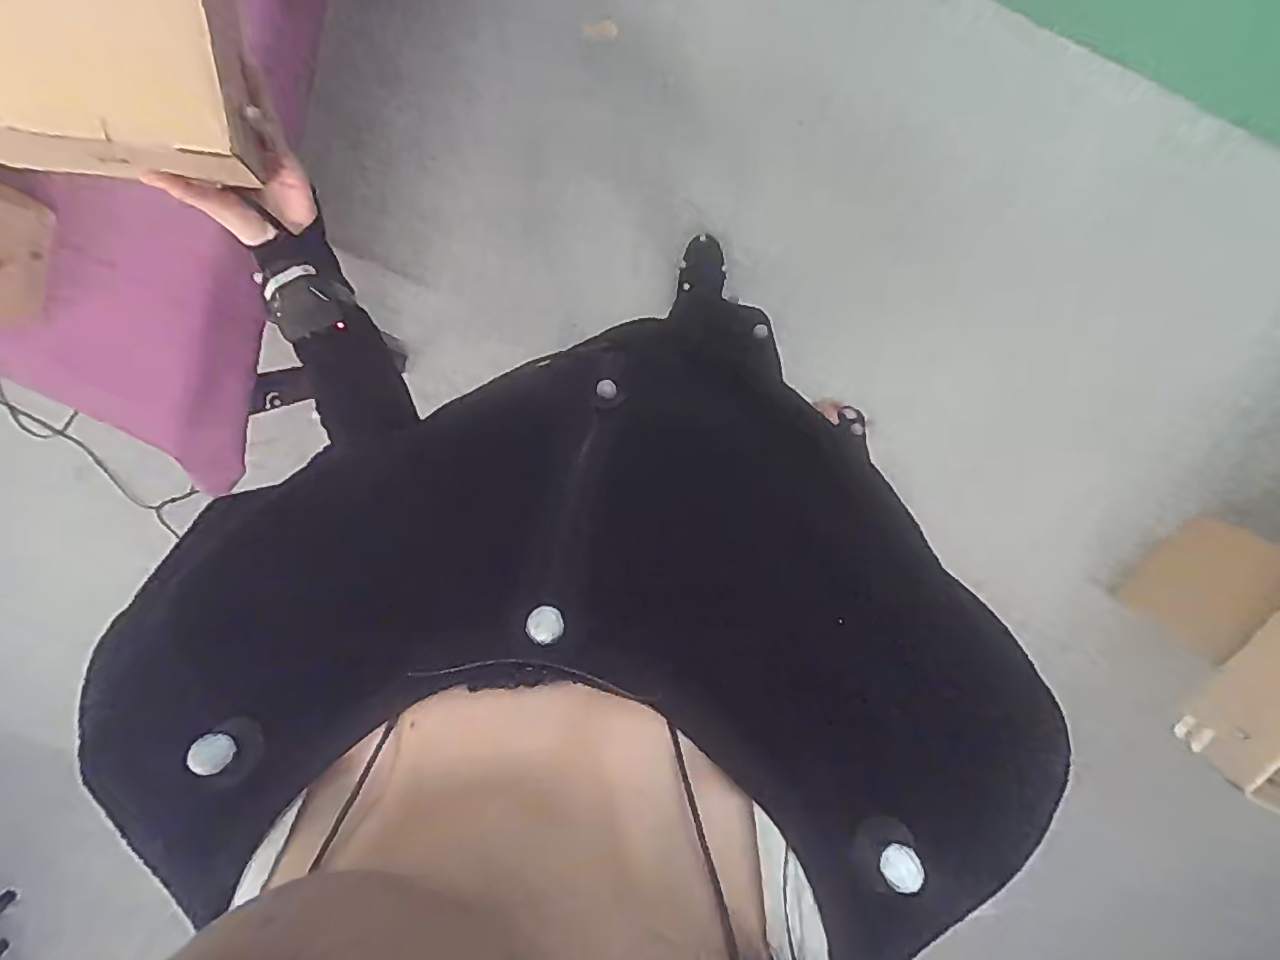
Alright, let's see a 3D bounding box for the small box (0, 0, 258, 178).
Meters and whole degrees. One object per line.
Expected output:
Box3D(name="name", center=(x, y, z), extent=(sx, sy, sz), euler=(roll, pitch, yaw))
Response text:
Box3D(name="small box", center=(-0.358, -0.305, 0.335), extent=(0.168, 0.179, 0.176), euler=(-7, 112, -26))
